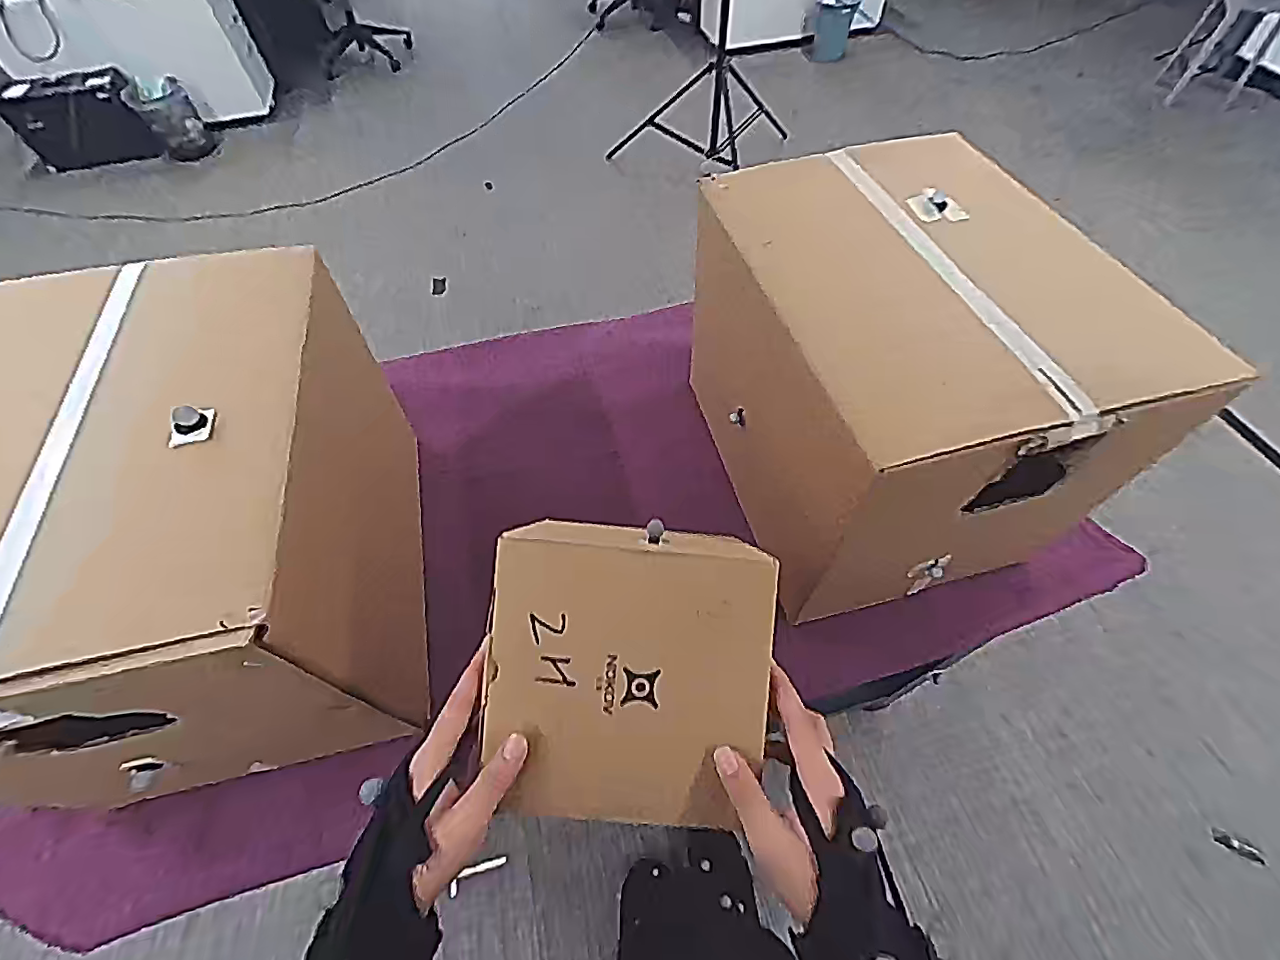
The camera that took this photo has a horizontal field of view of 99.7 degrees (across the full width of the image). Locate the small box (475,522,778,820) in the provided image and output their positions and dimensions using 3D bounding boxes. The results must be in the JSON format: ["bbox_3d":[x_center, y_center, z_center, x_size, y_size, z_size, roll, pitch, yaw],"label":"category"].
[{"bbox_3d":[-0.008,0.123,0.413,0.179,0.176,0.168,5,88,0],"label":"small box"}]

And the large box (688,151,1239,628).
[{"bbox_3d":[0.261,-0.104,0.618,0.320,0.320,0.408,-13,55,-7],"label":"large box"}]
